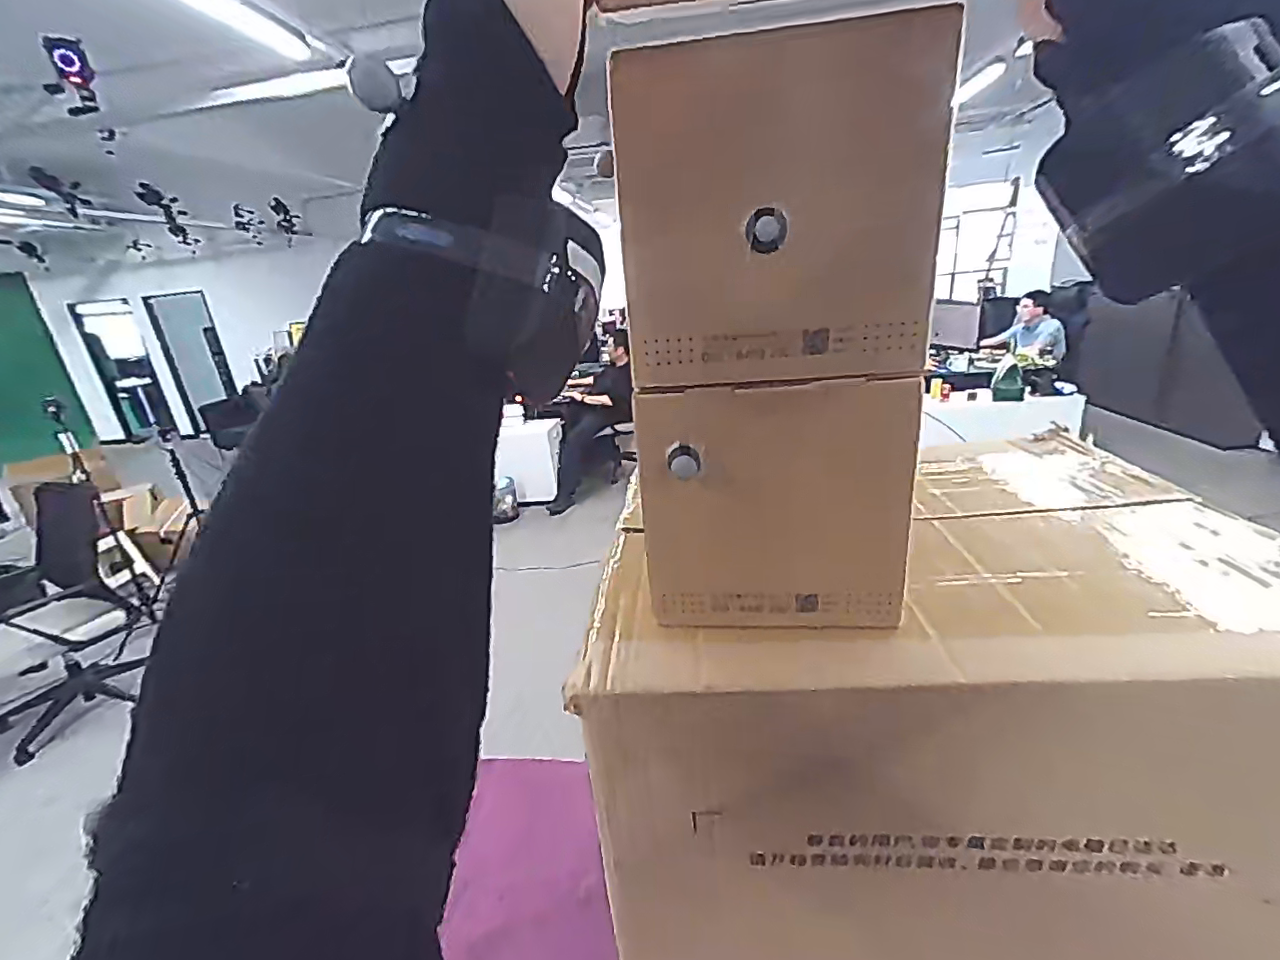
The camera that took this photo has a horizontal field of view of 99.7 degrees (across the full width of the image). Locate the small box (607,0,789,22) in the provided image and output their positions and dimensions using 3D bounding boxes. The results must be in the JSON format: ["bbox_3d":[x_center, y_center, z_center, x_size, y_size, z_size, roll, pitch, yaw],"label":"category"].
[{"bbox_3d":[0.060,-0.334,0.254,0.168,0.176,0.179,-2,39,6],"label":"small box"}]

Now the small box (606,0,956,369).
[{"bbox_3d":[0.080,-0.168,0.356,0.168,0.176,0.179,-2,20,7],"label":"small box"}]
